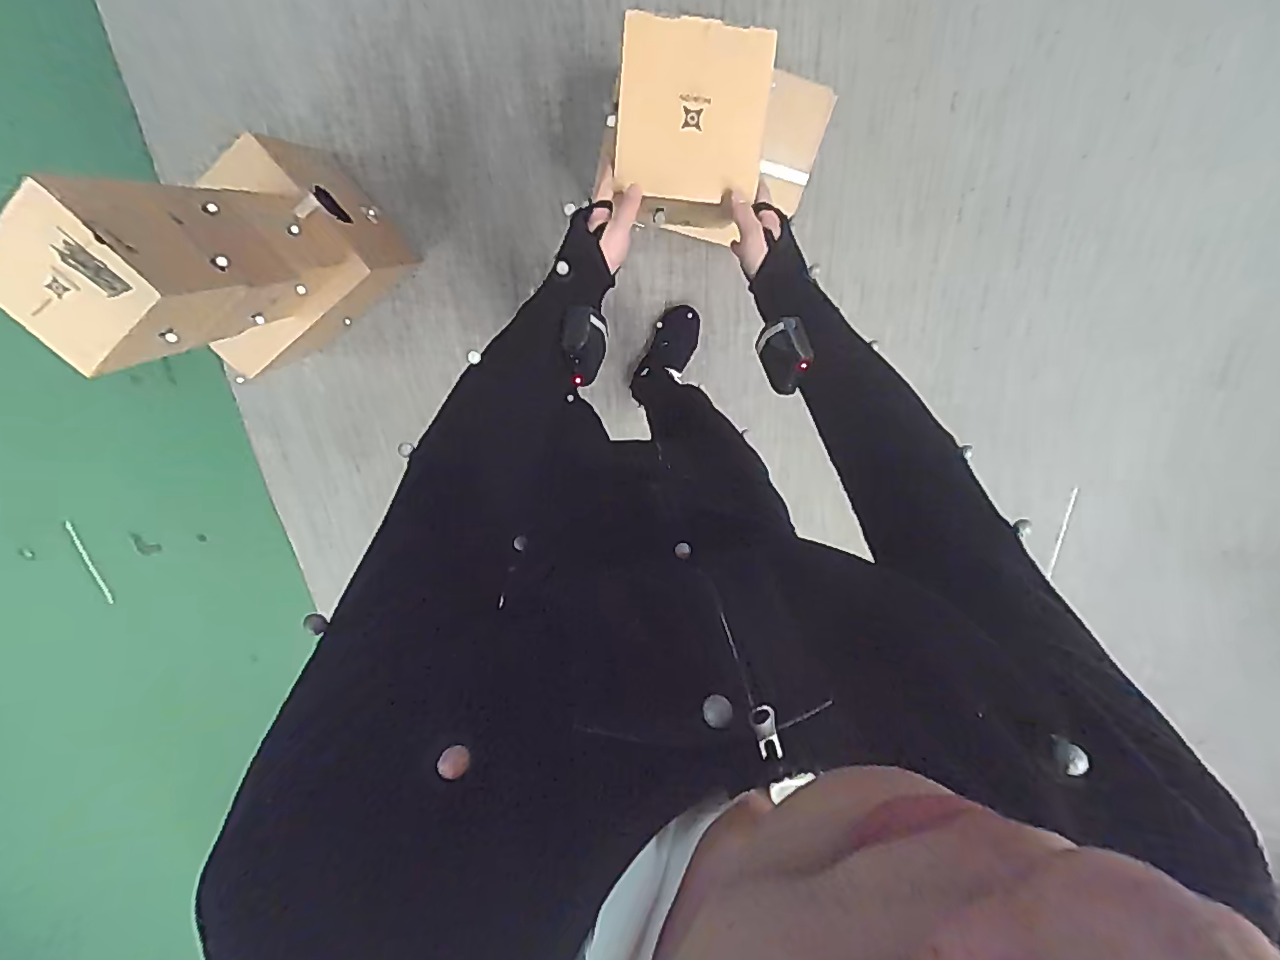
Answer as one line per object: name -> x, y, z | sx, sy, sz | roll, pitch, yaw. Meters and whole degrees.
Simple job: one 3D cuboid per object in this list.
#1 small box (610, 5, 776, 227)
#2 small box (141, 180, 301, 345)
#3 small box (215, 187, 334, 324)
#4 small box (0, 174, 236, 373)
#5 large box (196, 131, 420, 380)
small box -> 0.052, -0.422, 0.661 | 0.168, 0.176, 0.179 | 4, 103, -4
small box -> -0.707, -0.347, 0.872 | 0.168, 0.176, 0.179 | -33, 112, 13
small box -> -0.717, -0.419, 1.017 | 0.179, 0.176, 0.168 | -35, 111, 13
small box -> -0.698, -0.276, 0.724 | 0.179, 0.176, 0.168 | -34, 111, 15
large box -> -0.800, -0.503, 1.247 | 0.408, 0.320, 0.320 | -34, 110, 14
